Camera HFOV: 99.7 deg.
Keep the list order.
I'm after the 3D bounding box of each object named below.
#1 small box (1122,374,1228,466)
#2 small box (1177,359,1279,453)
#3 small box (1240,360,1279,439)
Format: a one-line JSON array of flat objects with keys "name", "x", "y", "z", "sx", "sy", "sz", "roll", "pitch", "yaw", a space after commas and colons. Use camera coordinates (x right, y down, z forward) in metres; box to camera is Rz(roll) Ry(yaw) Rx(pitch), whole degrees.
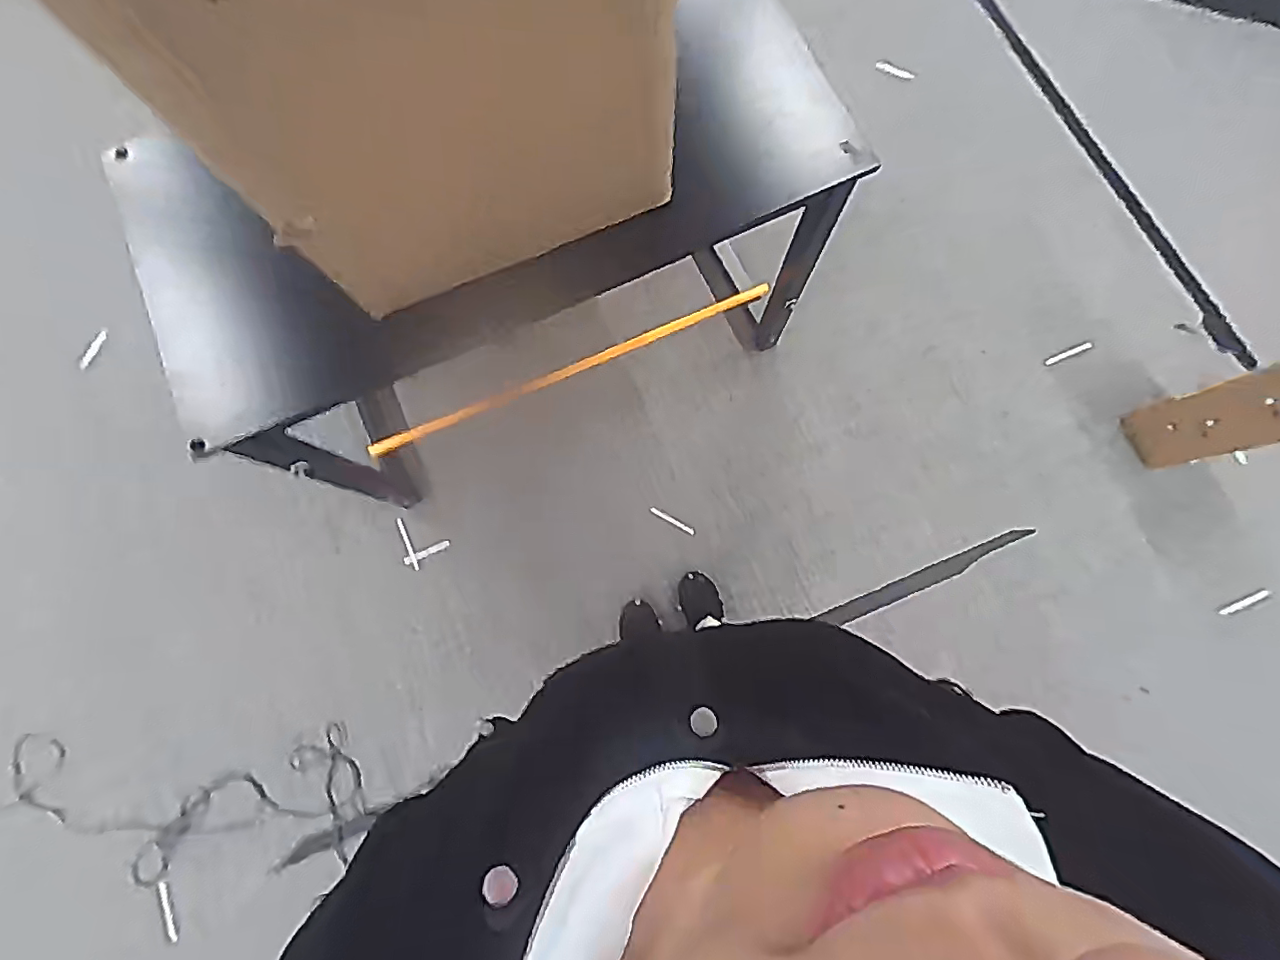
[{"name": "small box", "x": 1.476, "y": -0.157, "z": 1.462, "sx": 0.168, "sy": 0.176, "sz": 0.179, "roll": -20, "pitch": 80, "yaw": -2}, {"name": "small box", "x": 1.478, "y": -0.182, "z": 1.299, "sx": 0.179, "sy": 0.176, "sz": 0.168, "roll": -20, "pitch": 80, "yaw": -2}, {"name": "small box", "x": 1.462, "y": -0.205, "z": 1.138, "sx": 0.179, "sy": 0.176, "sz": 0.168, "roll": -21, "pitch": 79, "yaw": -1}]
